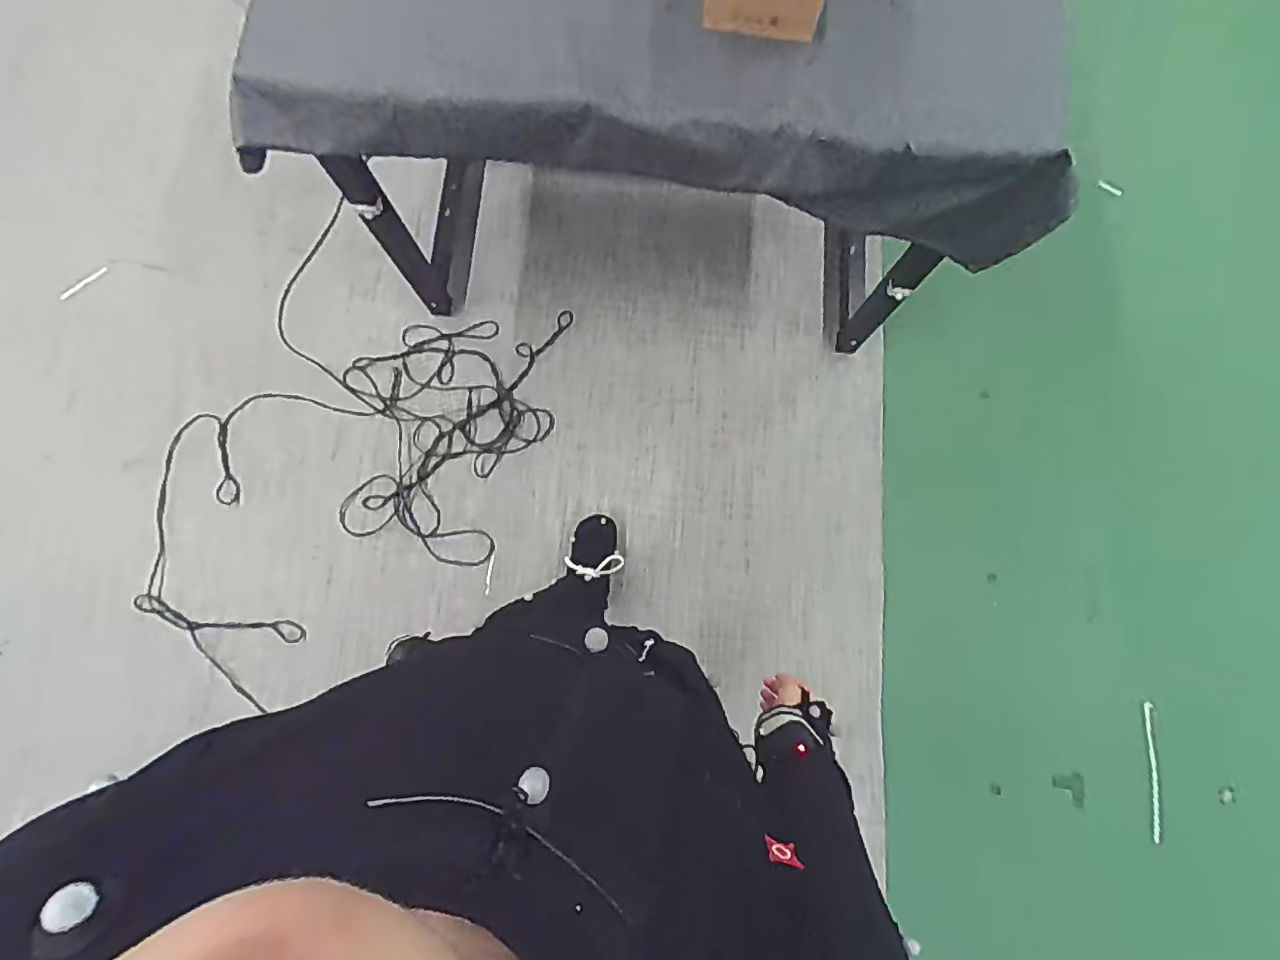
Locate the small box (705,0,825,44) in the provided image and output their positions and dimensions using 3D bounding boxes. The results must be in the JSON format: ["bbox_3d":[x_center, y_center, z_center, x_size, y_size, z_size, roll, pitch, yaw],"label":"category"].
[{"bbox_3d":[0.188,-0.754,0.744,0.168,0.176,0.179,8,78,-1],"label":"small box"}]
